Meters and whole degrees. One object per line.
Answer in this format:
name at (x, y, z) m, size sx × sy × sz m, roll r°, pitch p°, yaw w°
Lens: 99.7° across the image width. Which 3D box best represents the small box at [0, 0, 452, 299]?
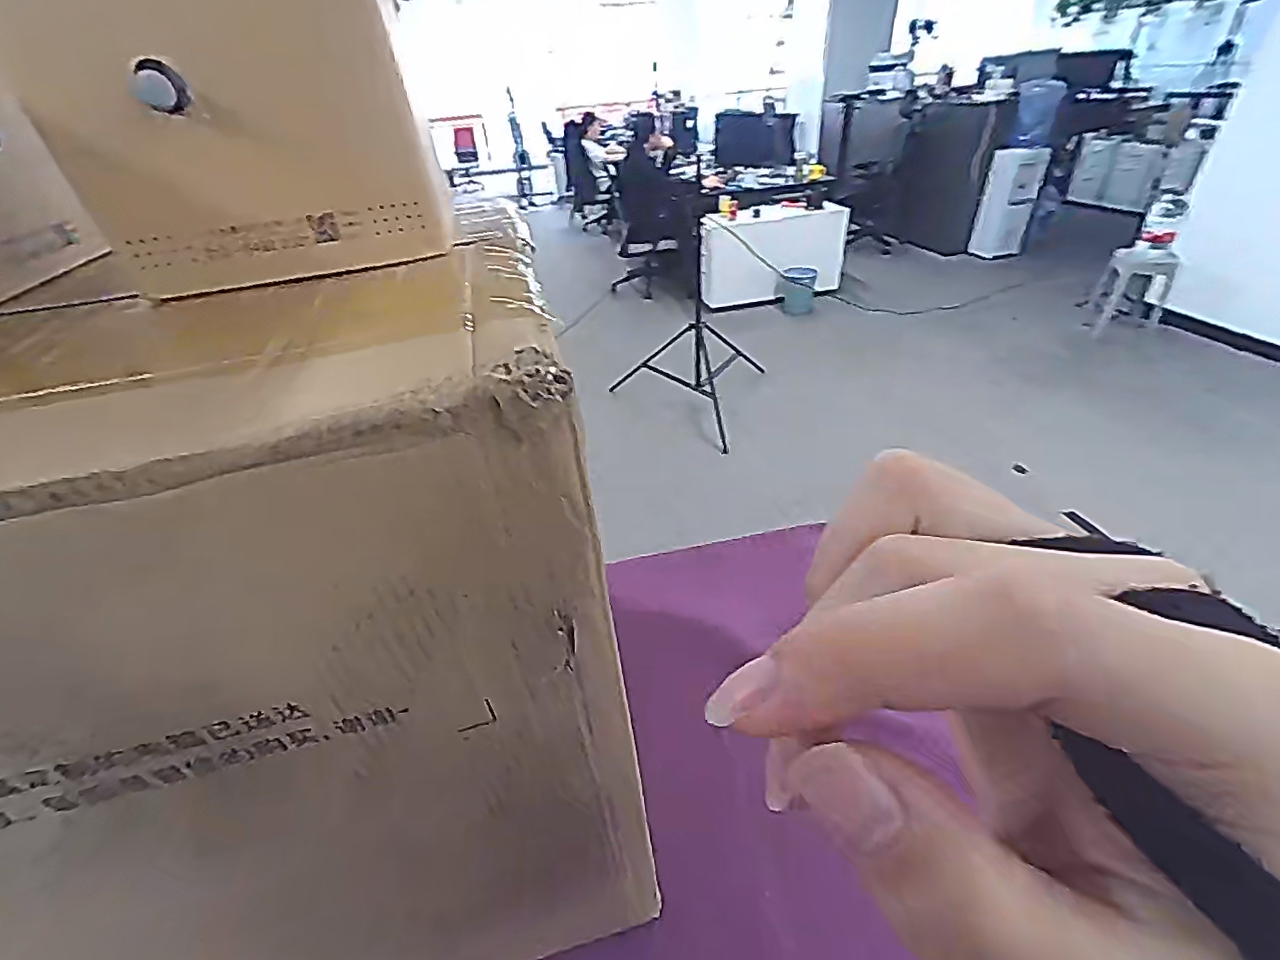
small box at (-0.221, -0.220, 0.327) m, size 0.168 × 0.176 × 0.179 m, roll -14°, pitch 36°, yaw -9°
